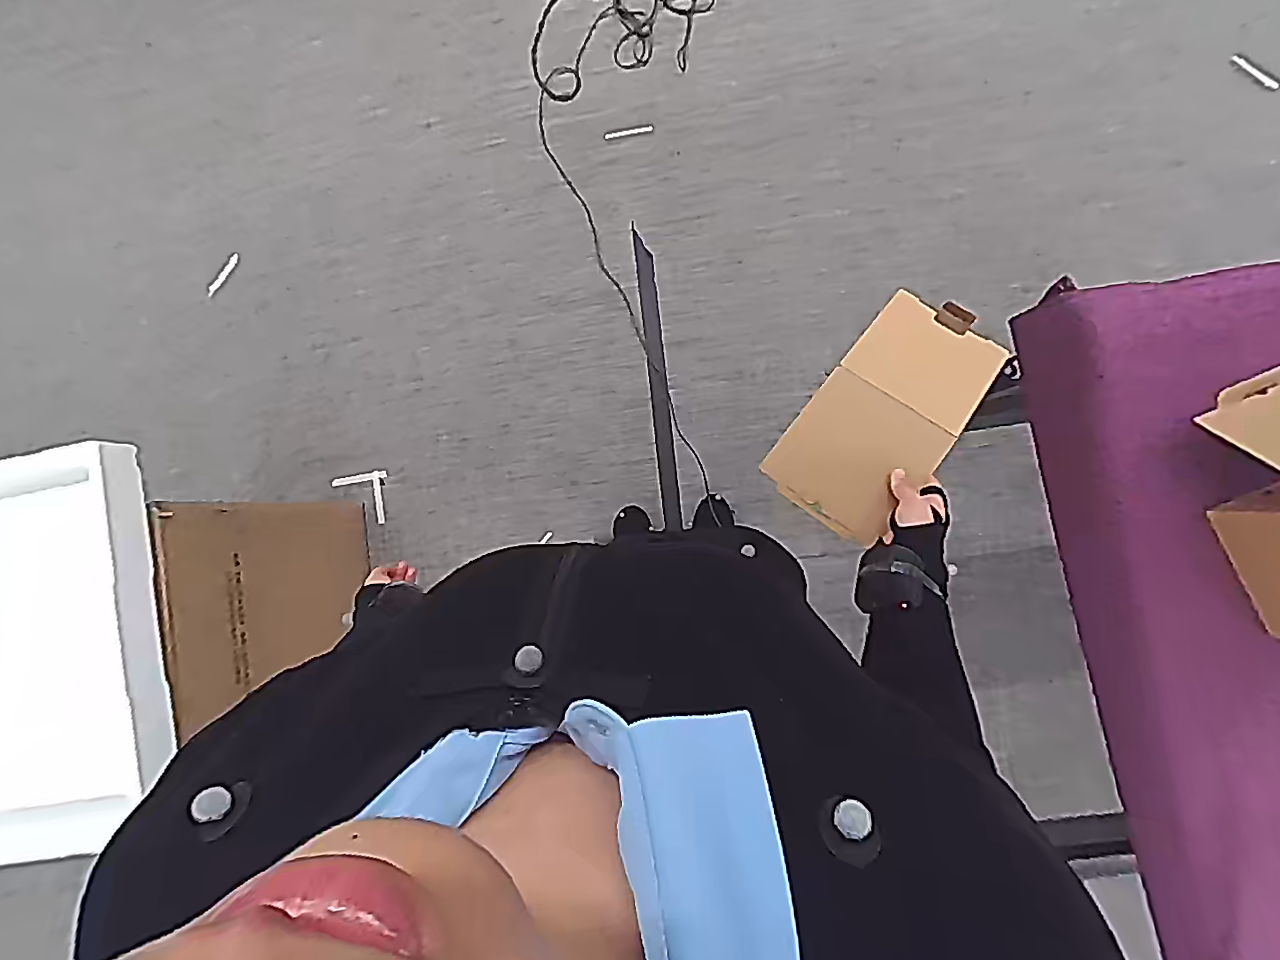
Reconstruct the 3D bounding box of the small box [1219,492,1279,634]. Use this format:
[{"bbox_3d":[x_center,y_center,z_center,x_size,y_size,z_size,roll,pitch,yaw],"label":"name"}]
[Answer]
[{"bbox_3d":[0.818,0.086,0.591,0.168,0.176,0.179,-23,86,5],"label":"small box"}]
